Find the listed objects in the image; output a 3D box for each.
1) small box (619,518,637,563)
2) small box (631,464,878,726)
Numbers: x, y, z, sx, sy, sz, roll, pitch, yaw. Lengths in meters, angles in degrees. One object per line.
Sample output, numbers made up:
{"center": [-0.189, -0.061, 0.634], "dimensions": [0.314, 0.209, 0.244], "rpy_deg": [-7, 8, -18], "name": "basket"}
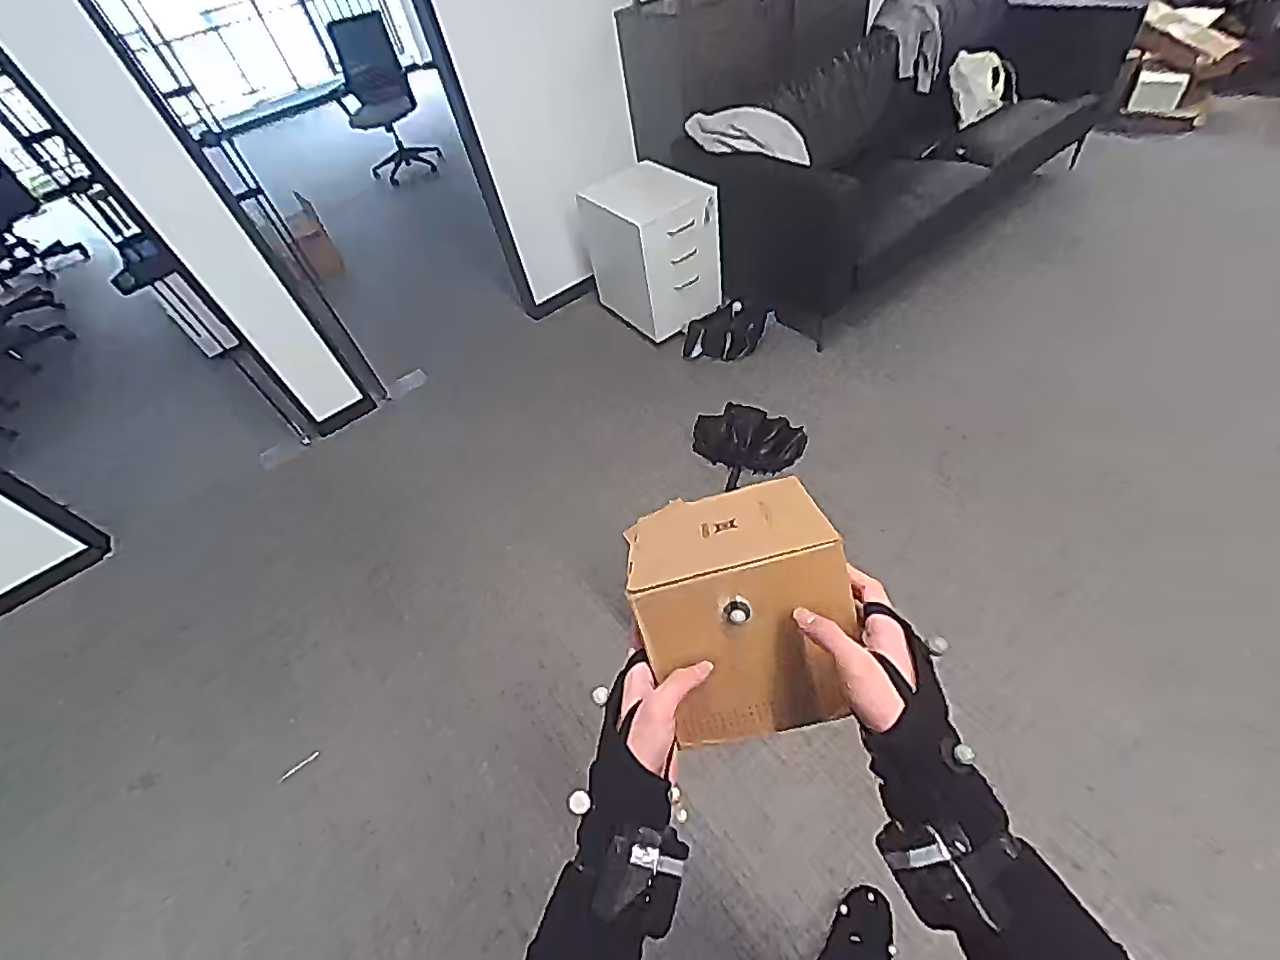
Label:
{"center": [0.071, 0.182, 1.354], "dimensions": [0.179, 0.176, 0.168], "rpy_deg": [-29, 50, -11], "name": "small box"}
{"center": [0.100, 0.102, 0.509], "dimensions": [0.179, 0.176, 0.168], "rpy_deg": [-13, 17, 6], "name": "small box"}
